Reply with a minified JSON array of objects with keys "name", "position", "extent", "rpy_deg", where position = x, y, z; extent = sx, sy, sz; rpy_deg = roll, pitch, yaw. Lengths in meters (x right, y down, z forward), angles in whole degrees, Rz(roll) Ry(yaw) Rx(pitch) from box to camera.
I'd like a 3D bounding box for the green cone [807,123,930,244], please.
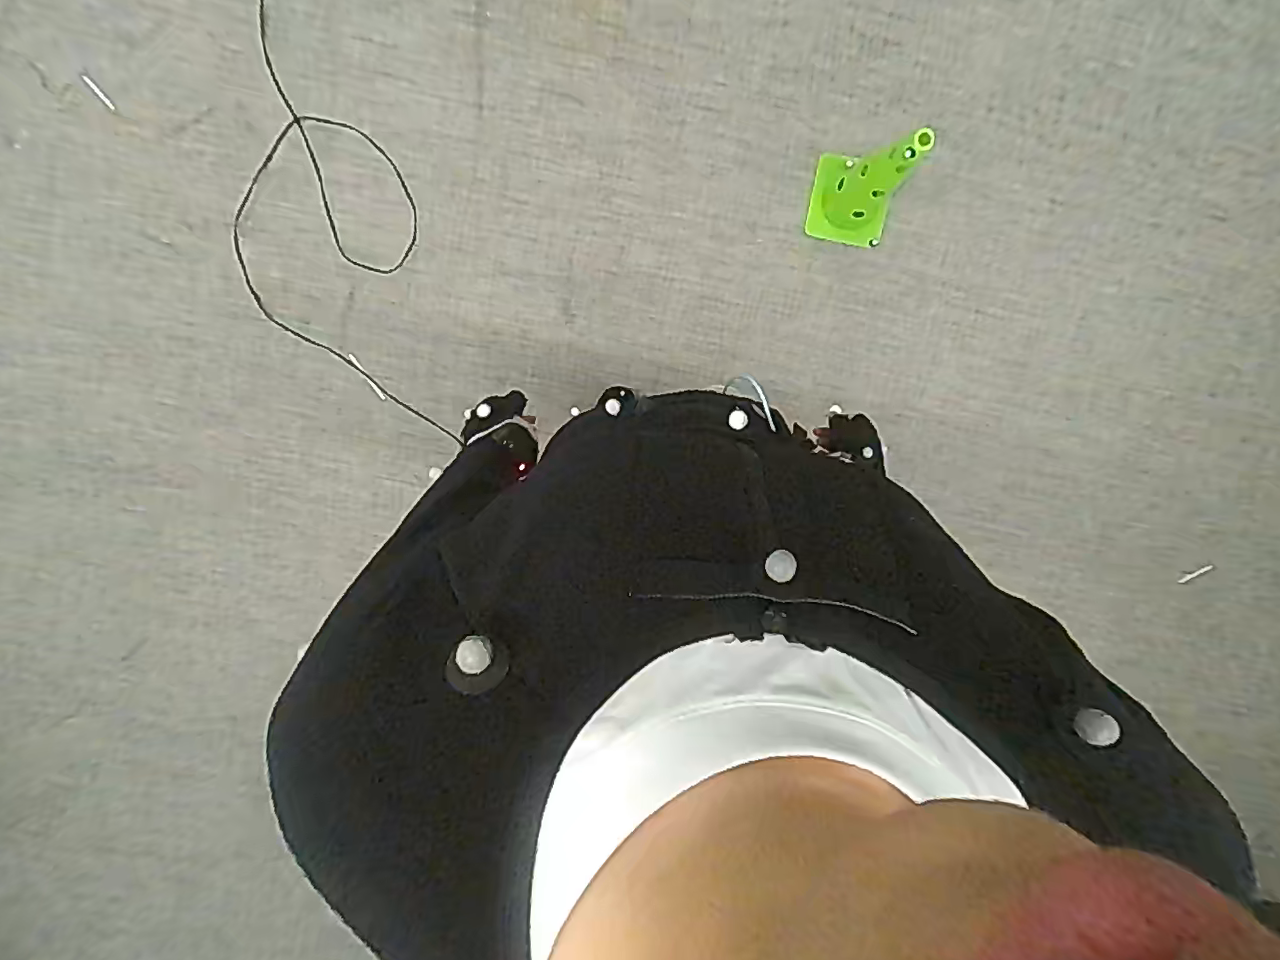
[{"name":"green cone","position":[0.536,-0.687,1.200],"extent":[0.202,0.368,0.200],"rpy_deg":[10,99,-2]}]
